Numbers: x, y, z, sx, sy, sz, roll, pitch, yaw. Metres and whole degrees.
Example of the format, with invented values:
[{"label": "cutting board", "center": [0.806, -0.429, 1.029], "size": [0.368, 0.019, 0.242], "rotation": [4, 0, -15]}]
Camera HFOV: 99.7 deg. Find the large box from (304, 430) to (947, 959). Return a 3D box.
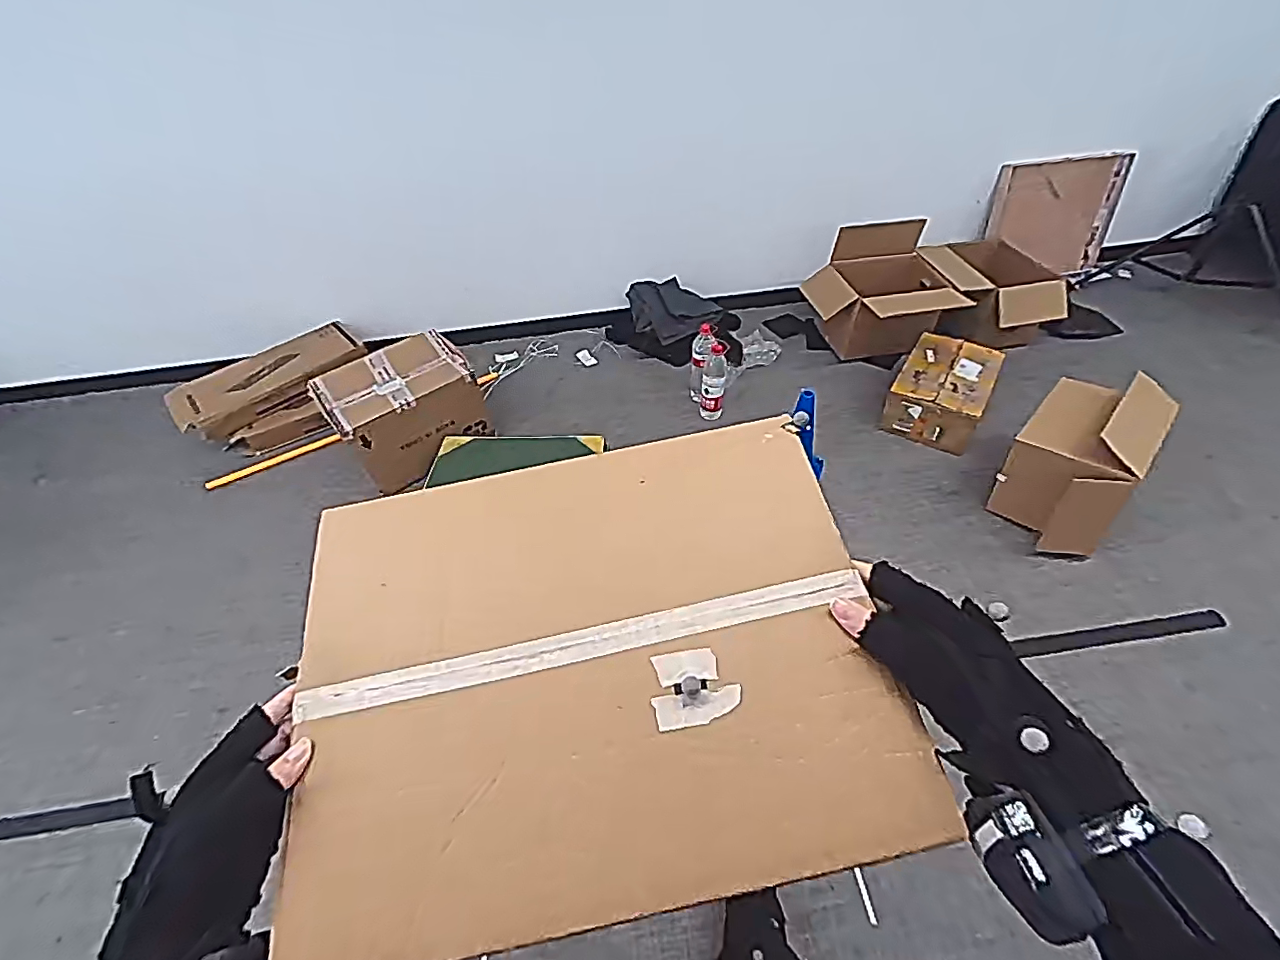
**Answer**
[{"label": "large box", "center": [-0.024, 0.200, 0.524], "size": [0.408, 0.320, 0.320], "rotation": [-12, 60, -3]}]
